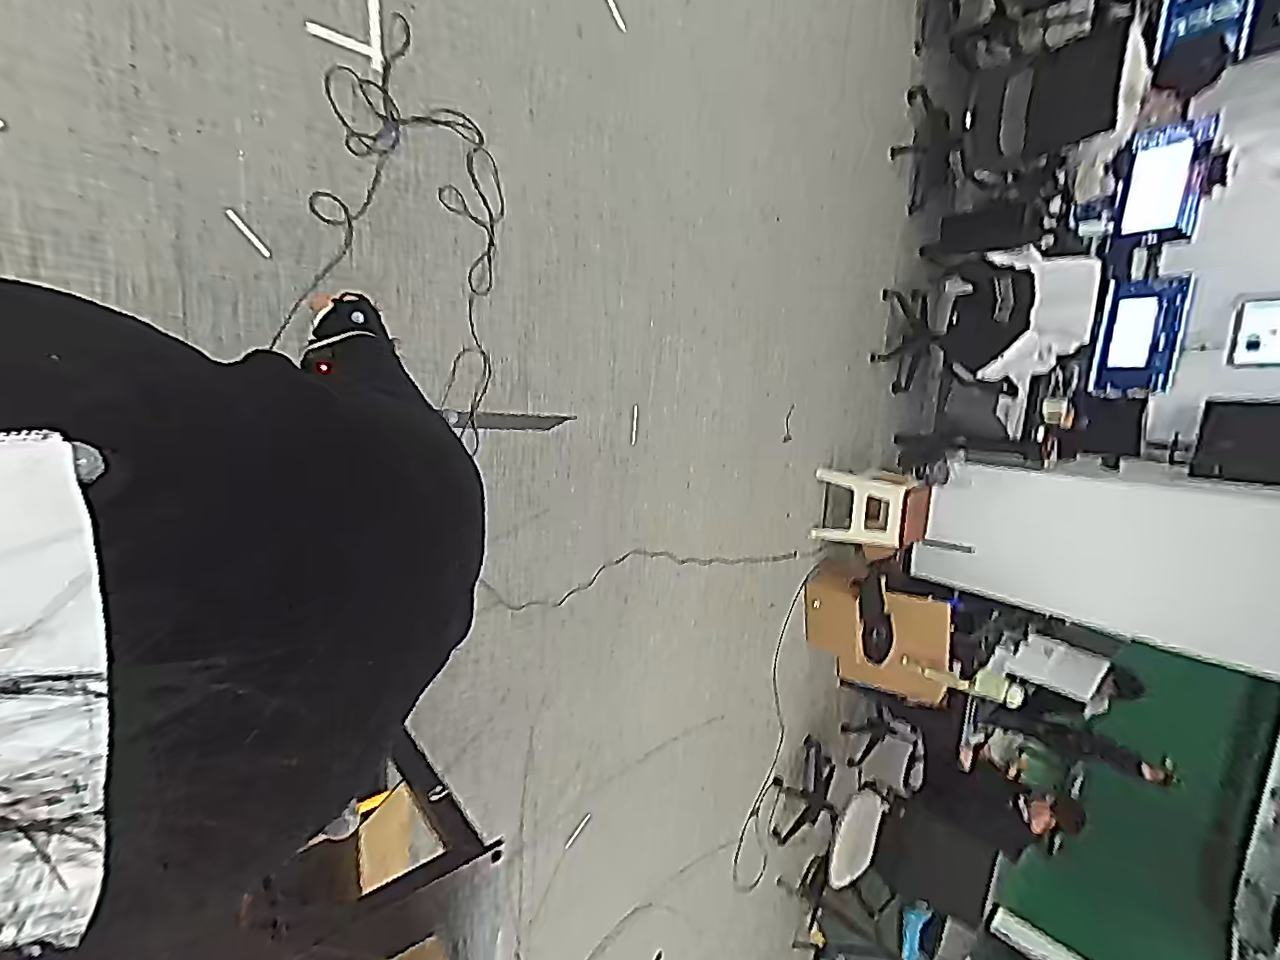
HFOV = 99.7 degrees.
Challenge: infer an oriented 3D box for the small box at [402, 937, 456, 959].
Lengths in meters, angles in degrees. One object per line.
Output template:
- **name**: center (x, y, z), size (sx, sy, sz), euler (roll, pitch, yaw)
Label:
- **small box**: center (-0.351, 0.863, 0.819), size (0.179, 0.176, 0.168), euler (-5, 101, -41)
